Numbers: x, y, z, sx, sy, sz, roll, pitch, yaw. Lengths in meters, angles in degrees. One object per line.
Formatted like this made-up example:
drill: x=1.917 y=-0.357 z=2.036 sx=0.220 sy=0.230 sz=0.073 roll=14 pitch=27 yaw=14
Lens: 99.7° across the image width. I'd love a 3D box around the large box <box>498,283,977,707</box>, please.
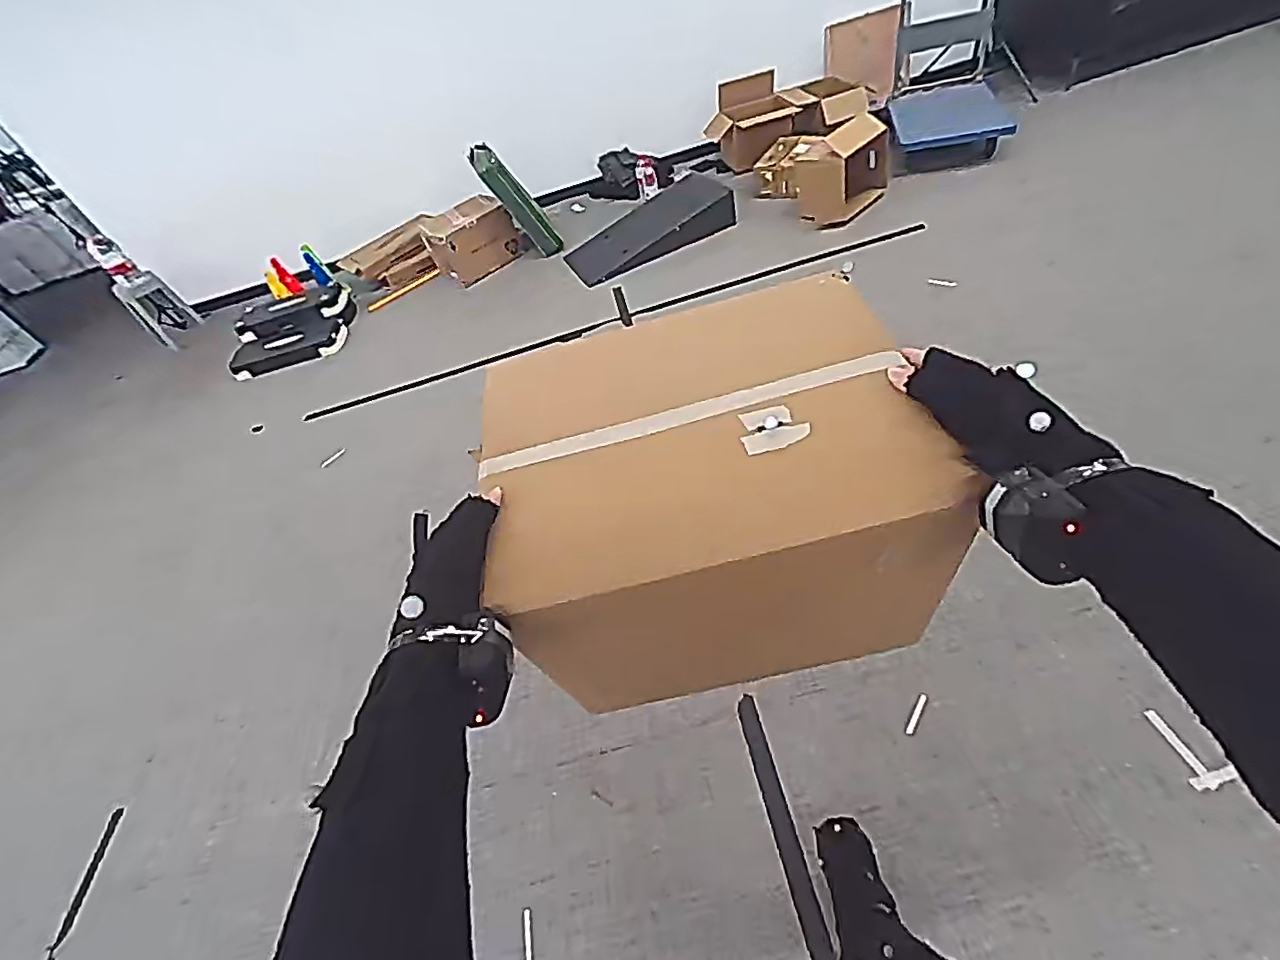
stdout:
large box: x=0.079 y=0.031 z=0.641 sx=0.408 sy=0.320 sz=0.320 roll=-14 pitch=52 yaw=3
